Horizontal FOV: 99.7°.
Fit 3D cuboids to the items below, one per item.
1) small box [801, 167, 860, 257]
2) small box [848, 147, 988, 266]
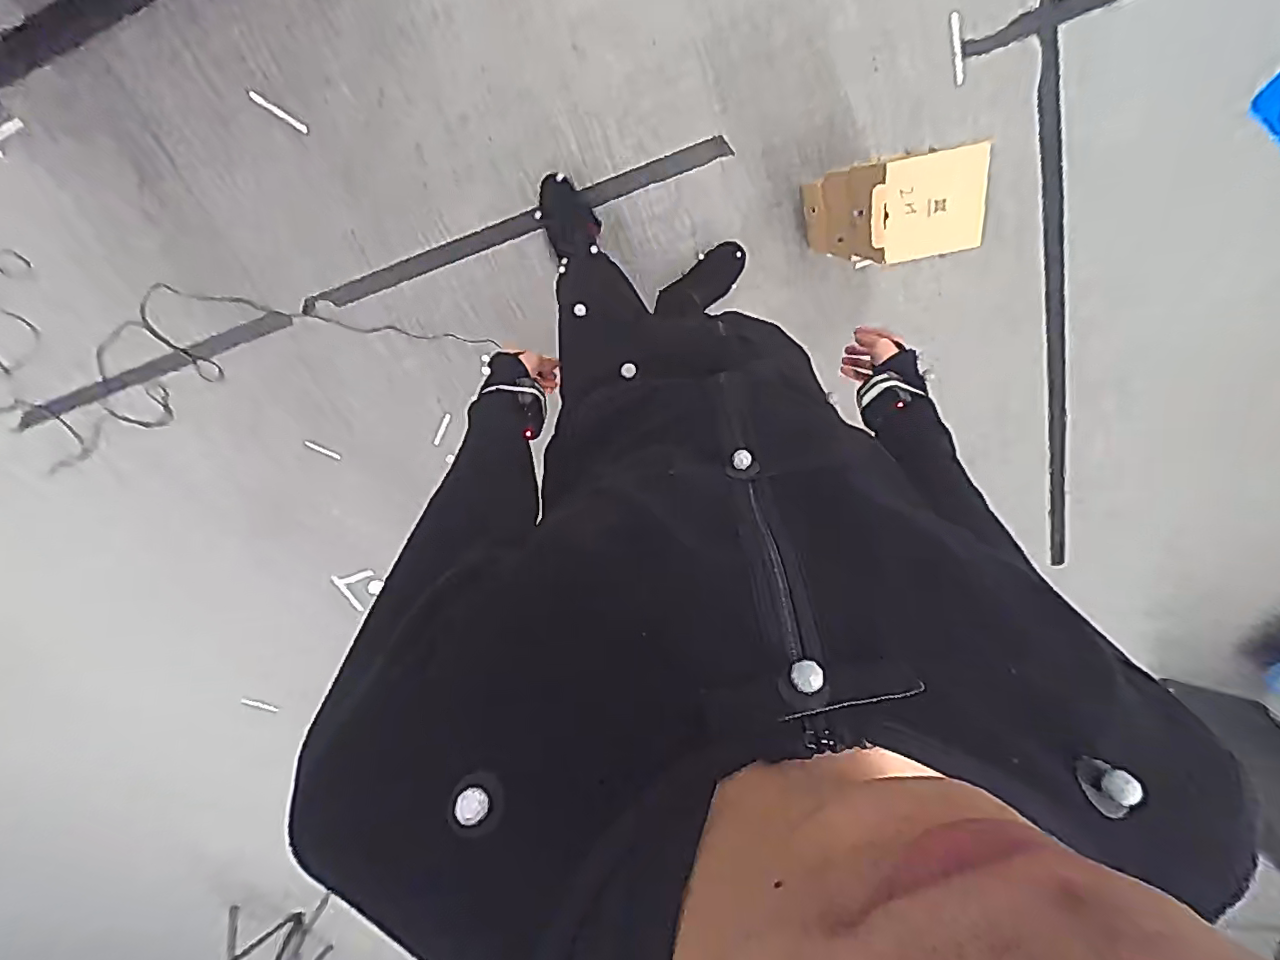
[{"bbox_3d":[0.500,-0.653,1.313,0.179,0.176,0.168,-14,117,7],"label":"small box"},{"bbox_3d":[0.508,-0.513,1.014,0.179,0.176,0.168,-9,118,5],"label":"small box"}]
